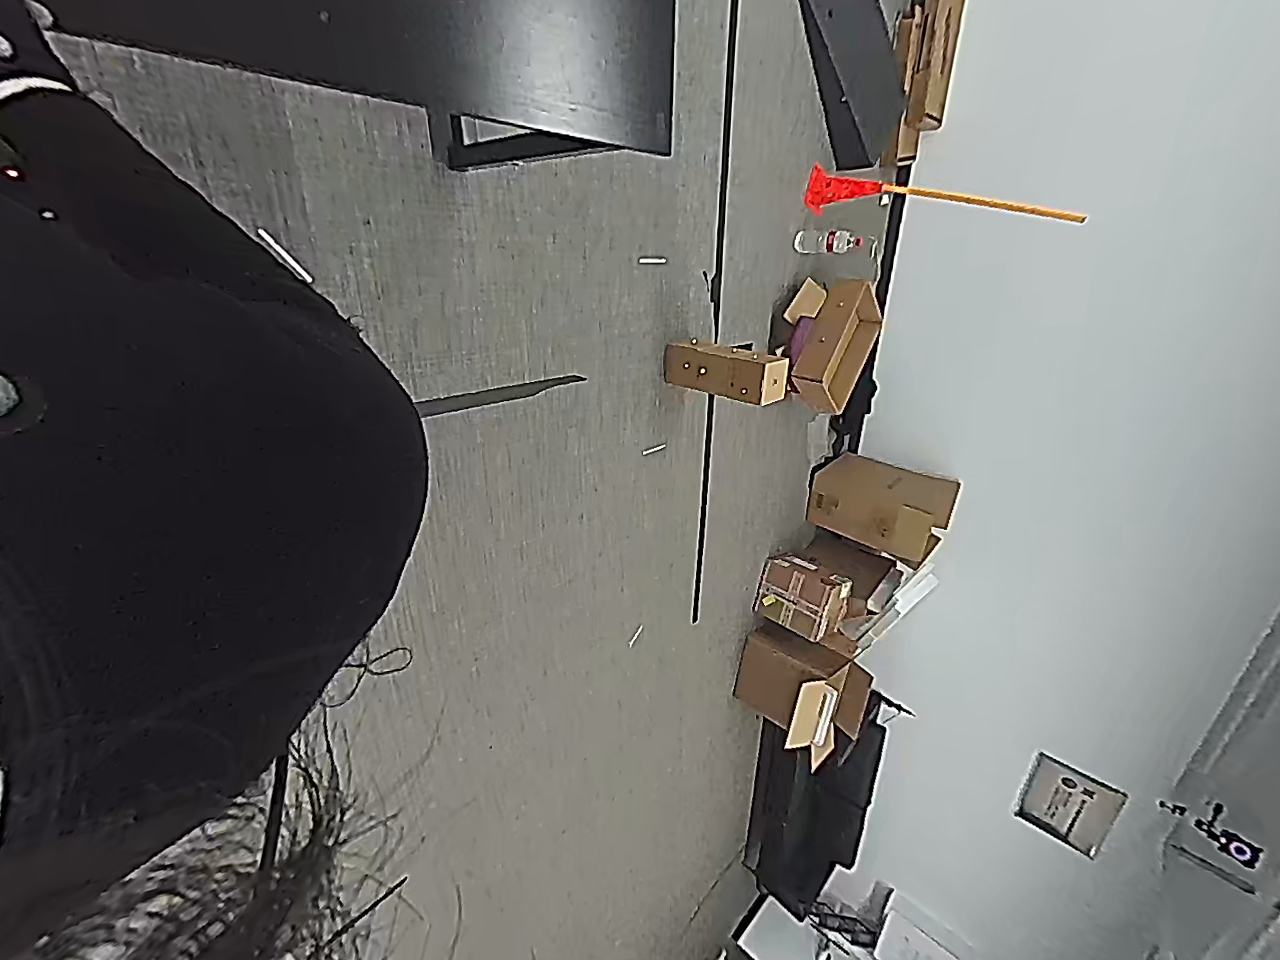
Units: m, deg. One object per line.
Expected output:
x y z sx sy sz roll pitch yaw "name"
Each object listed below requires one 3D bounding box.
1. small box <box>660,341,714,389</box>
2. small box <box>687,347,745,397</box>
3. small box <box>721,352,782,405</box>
0.203 -0.505 2.352 0.168 0.176 0.179 -22 123 -42 "small box"
0.319 -0.454 2.247 0.179 0.176 0.168 -22 122 -42 "small box"
0.439 -0.407 2.149 0.179 0.176 0.168 -24 125 -43 "small box"
